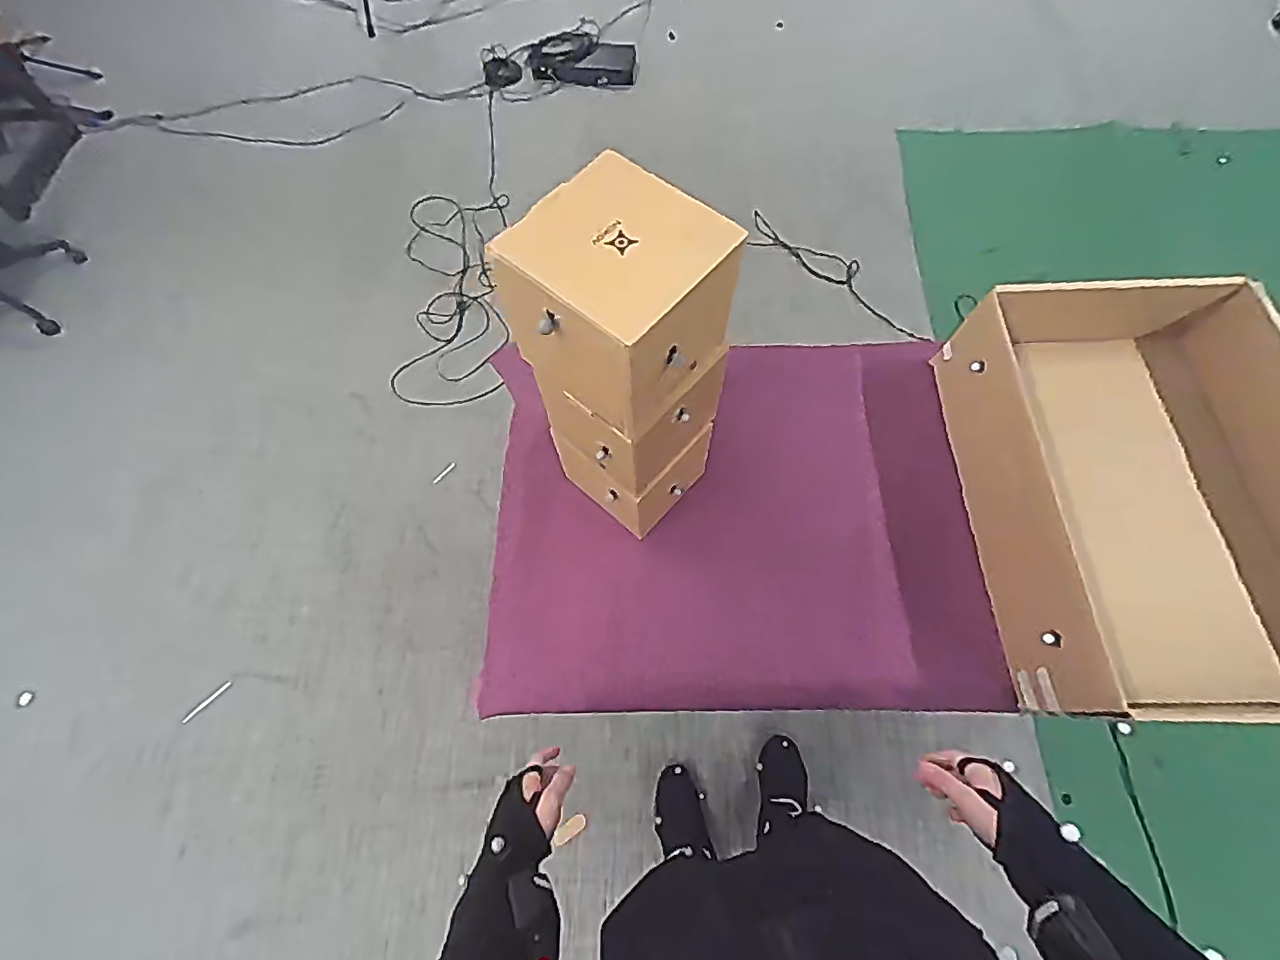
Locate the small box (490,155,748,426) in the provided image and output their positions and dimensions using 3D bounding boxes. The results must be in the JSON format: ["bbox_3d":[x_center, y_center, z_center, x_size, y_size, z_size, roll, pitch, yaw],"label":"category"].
[{"bbox_3d":[-0.017,-0.180,0.557,0.179,0.176,0.168,38,73,16],"label":"small box"}]

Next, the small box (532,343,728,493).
[{"bbox_3d":[-0.008,-0.112,0.703,0.168,0.176,0.179,40,72,16],"label":"small box"}]

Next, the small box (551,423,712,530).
[{"bbox_3d":[-0.010,-0.042,0.850,0.179,0.176,0.168,40,72,17],"label":"small box"}]
